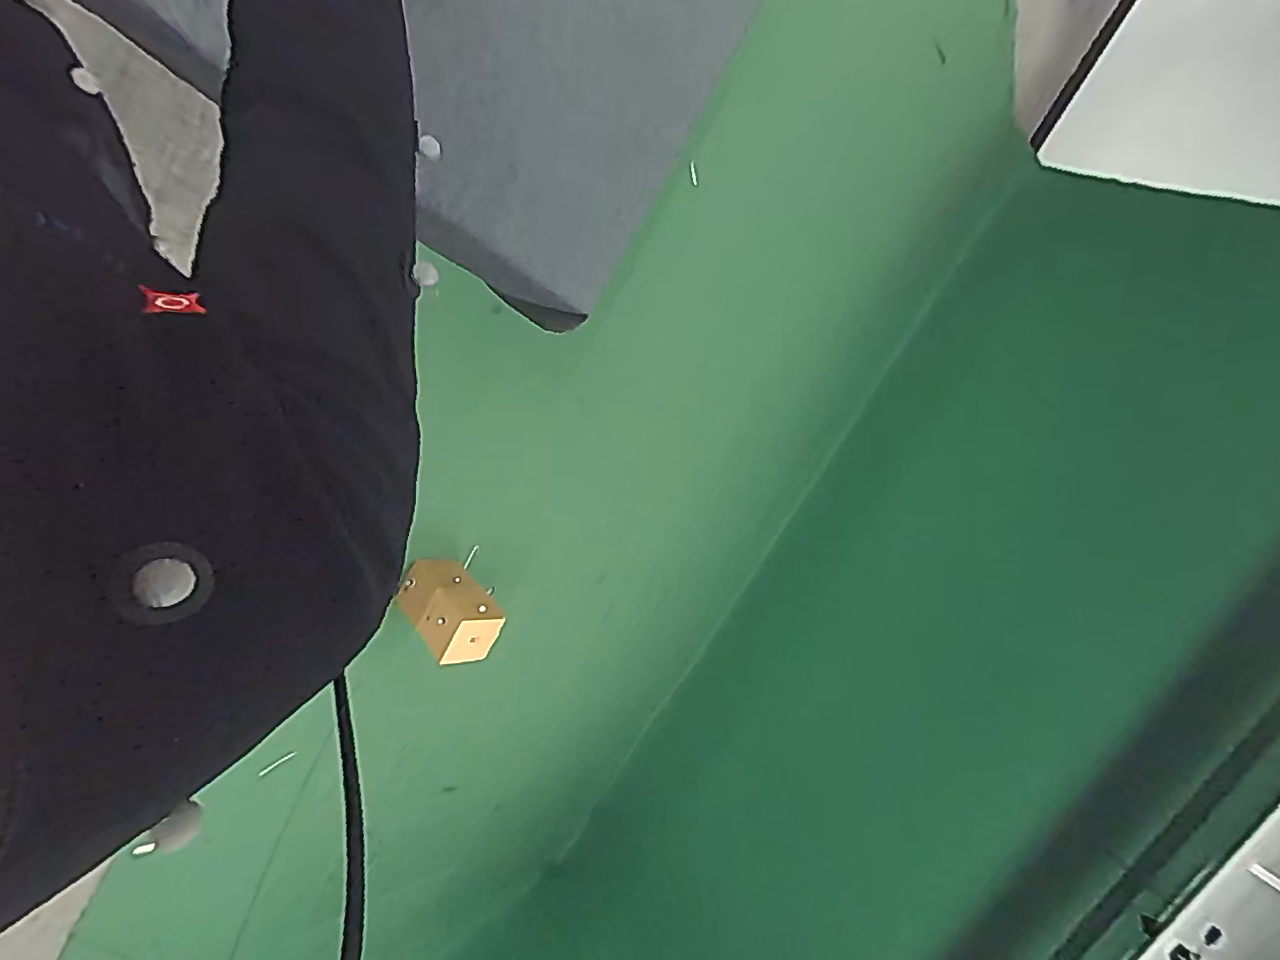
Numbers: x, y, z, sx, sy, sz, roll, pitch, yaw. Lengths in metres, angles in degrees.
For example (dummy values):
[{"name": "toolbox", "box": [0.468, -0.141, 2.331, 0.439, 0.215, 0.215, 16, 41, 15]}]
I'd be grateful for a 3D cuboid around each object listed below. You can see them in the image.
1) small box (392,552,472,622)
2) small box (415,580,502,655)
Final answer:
[{"name": "small box", "box": [-0.695, 0.359, 1.822, 0.179, 0.176, 0.168, 17, 105, -54]}, {"name": "small box", "box": [-0.584, 0.432, 1.727, 0.179, 0.176, 0.168, 15, 108, -55]}]
